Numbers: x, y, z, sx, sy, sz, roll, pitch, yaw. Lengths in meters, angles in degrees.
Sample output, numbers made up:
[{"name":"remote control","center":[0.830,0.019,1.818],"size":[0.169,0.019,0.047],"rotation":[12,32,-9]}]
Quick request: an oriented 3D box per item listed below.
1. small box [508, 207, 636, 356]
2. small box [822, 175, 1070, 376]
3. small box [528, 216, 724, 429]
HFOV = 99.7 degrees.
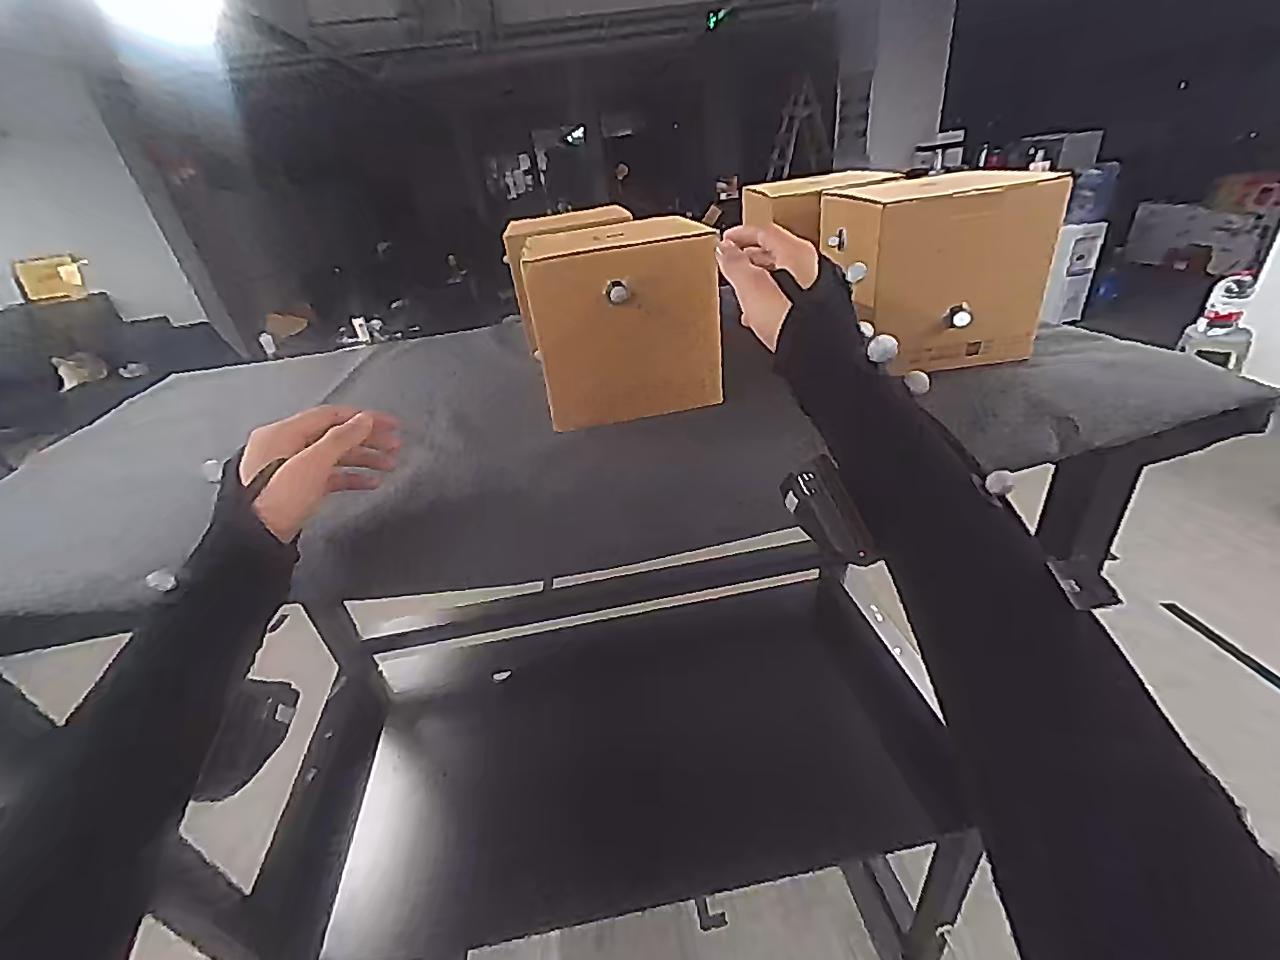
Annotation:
[{"name":"small box","center":[-0.087,-0.291,0.790],"size":[0.168,0.176,0.179],"rotation":[-11,31,-3]},{"name":"small box","center":[0.306,-0.226,0.590],"size":[0.168,0.176,0.179],"rotation":[-7,31,3]},{"name":"small box","center":[-0.014,-0.171,0.580],"size":[0.179,0.176,0.168],"rotation":[-11,31,-4]}]
